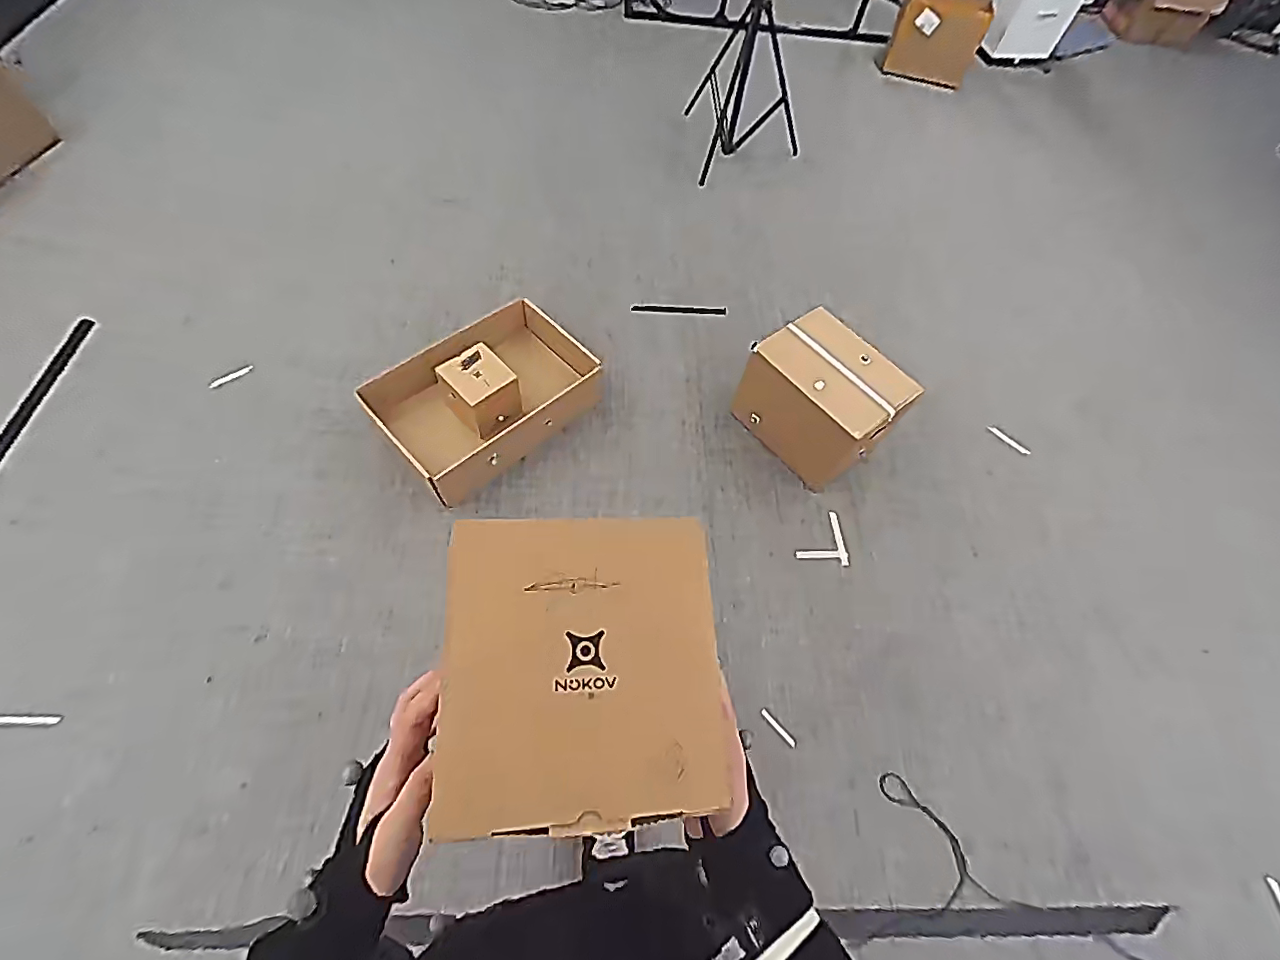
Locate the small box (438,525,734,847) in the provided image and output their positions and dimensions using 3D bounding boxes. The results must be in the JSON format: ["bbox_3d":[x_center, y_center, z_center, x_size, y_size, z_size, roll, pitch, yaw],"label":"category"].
[{"bbox_3d":[-0.045,0.141,0.397,0.168,0.176,0.179,1,66,-12],"label":"small box"}]

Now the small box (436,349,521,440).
[{"bbox_3d":[-0.482,-0.255,1.636,0.168,0.176,0.179,-40,71,-24],"label":"small box"}]
